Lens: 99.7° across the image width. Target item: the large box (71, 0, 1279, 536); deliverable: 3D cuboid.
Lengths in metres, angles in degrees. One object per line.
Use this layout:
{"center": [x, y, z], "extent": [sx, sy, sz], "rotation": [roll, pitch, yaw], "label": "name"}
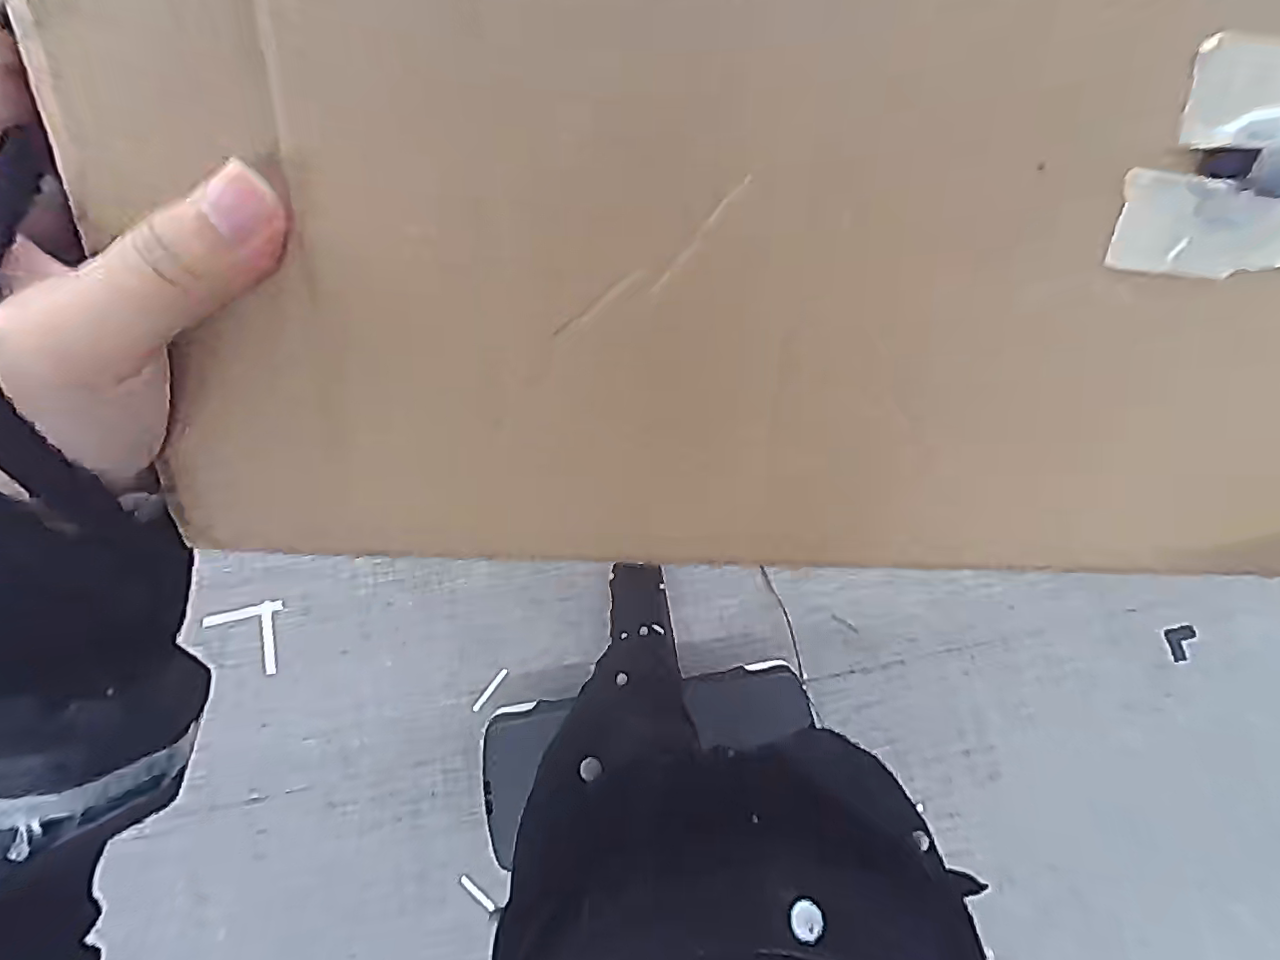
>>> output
{"center": [0.066, -0.180, 0.261], "extent": [0.408, 0.320, 0.320], "rotation": [1, 113, -4], "label": "large box"}
